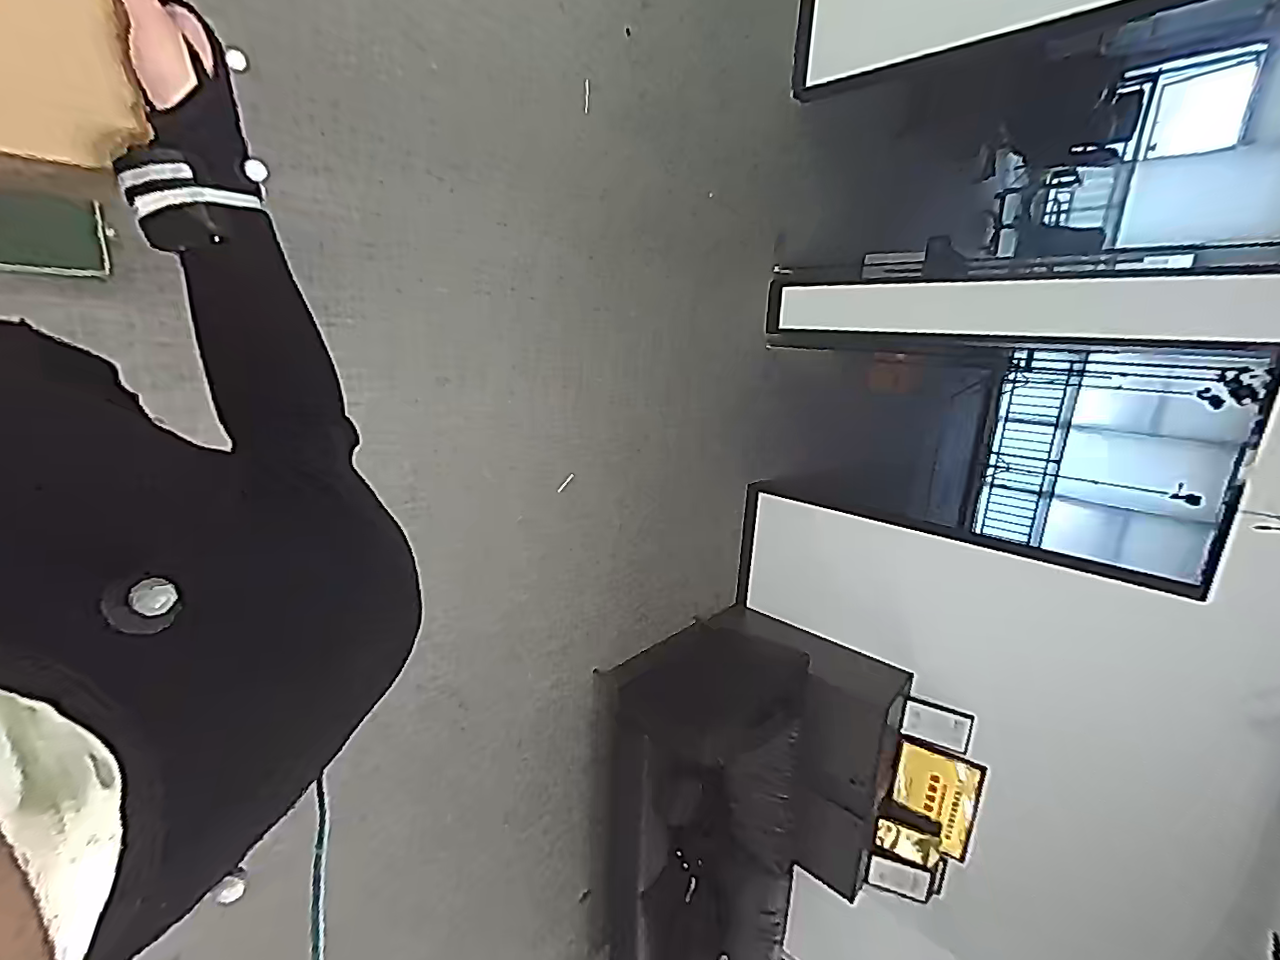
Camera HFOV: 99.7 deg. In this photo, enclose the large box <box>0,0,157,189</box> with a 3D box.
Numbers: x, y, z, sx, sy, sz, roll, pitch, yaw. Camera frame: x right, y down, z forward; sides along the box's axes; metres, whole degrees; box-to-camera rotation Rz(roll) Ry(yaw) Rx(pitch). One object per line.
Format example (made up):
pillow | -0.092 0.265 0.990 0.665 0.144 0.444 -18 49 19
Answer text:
large box | -0.617 -0.393 0.329 0.408 0.320 0.320 -17 118 -47
